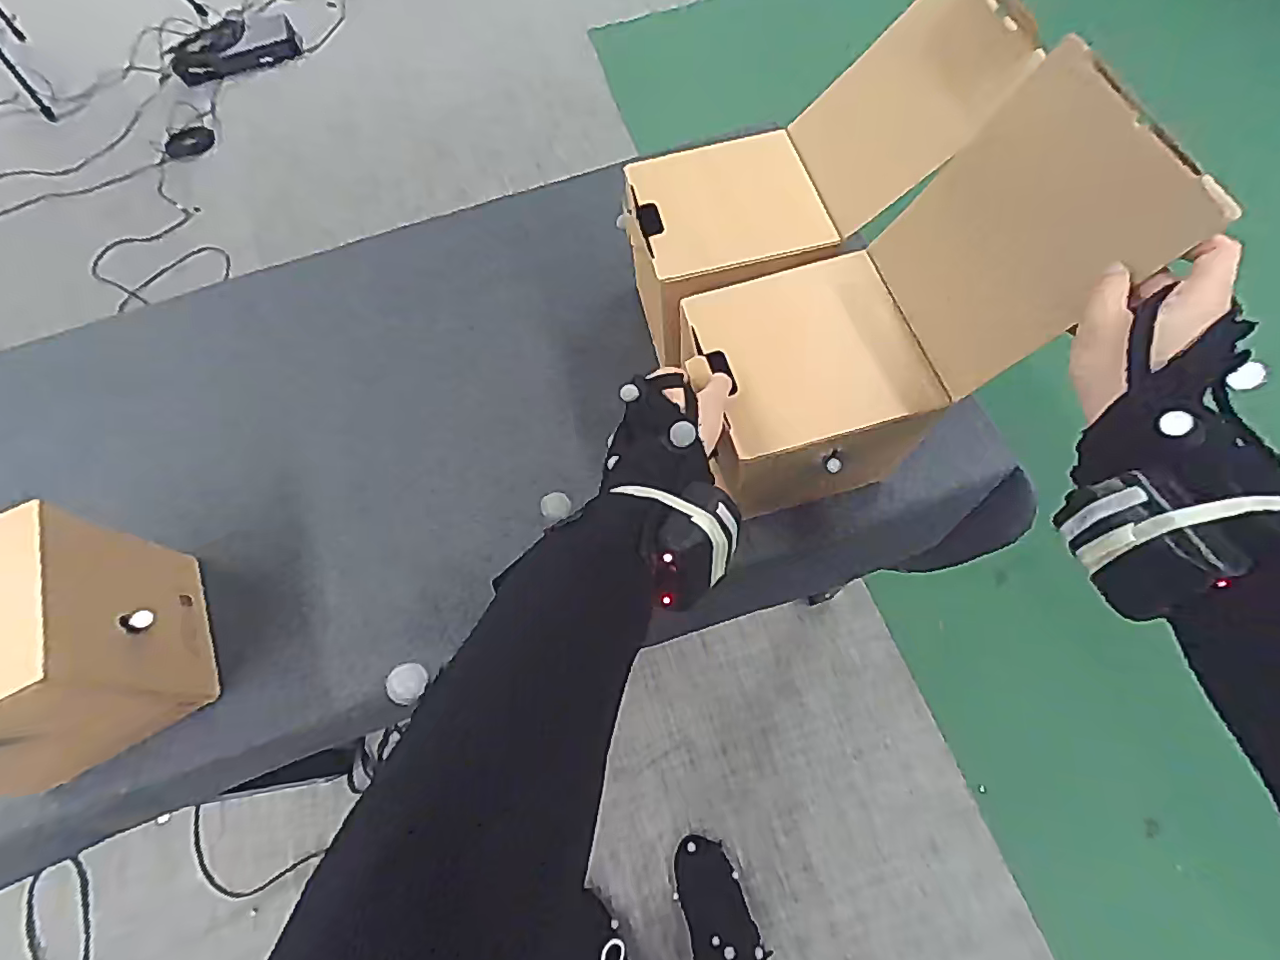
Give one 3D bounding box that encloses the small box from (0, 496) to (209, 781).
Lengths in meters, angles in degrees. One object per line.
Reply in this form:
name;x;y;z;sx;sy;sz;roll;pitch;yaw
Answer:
small box;-0.528;0.146;0.480;0.179;0.176;0.168;-28;66;-7
